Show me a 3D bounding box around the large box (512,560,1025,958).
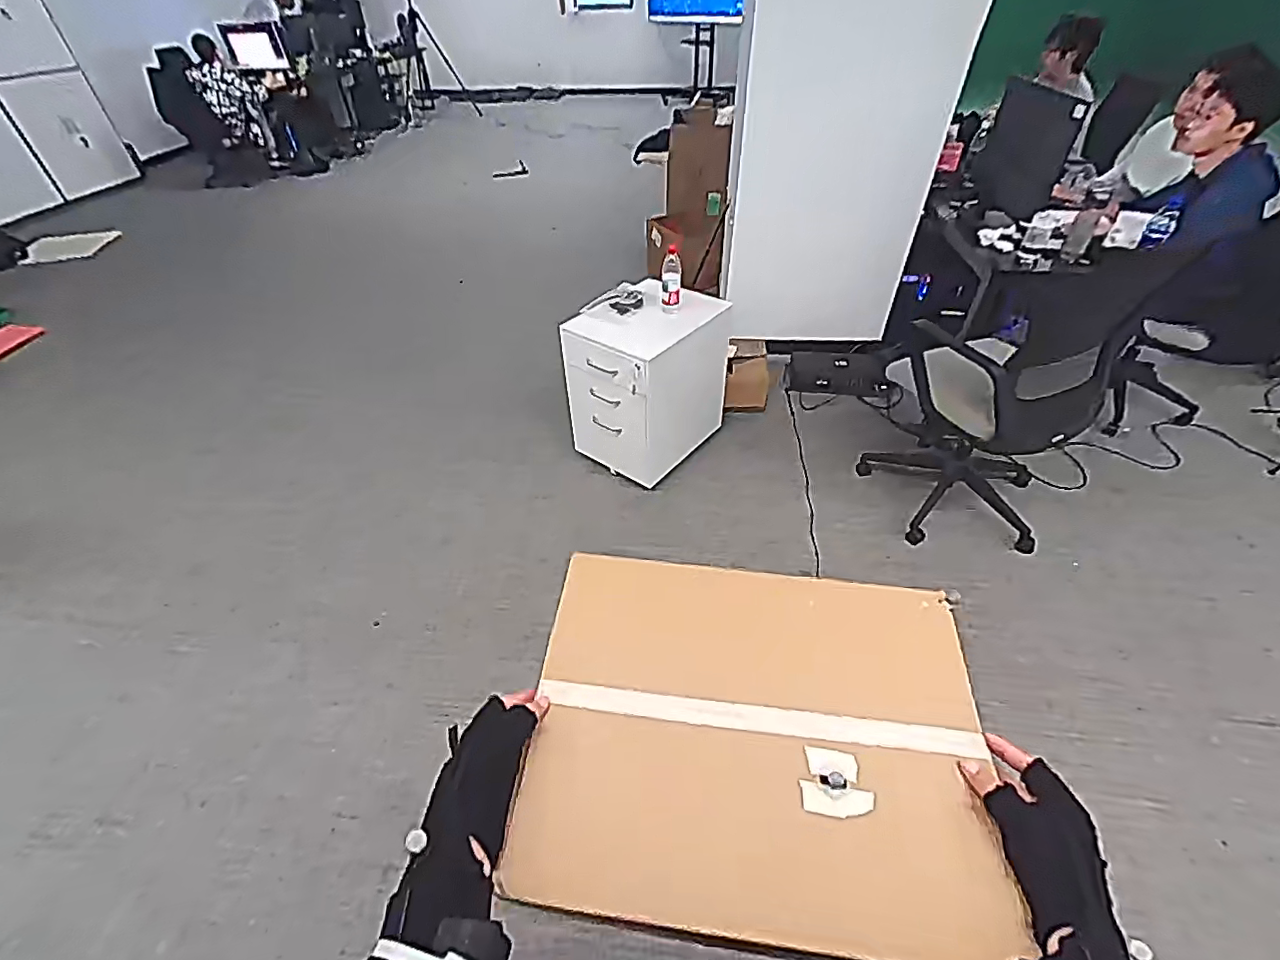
[{"bbox_3d":[0.110,0.319,0.625,0.408,0.320,0.320,5,50,6],"label":"large box"}]
